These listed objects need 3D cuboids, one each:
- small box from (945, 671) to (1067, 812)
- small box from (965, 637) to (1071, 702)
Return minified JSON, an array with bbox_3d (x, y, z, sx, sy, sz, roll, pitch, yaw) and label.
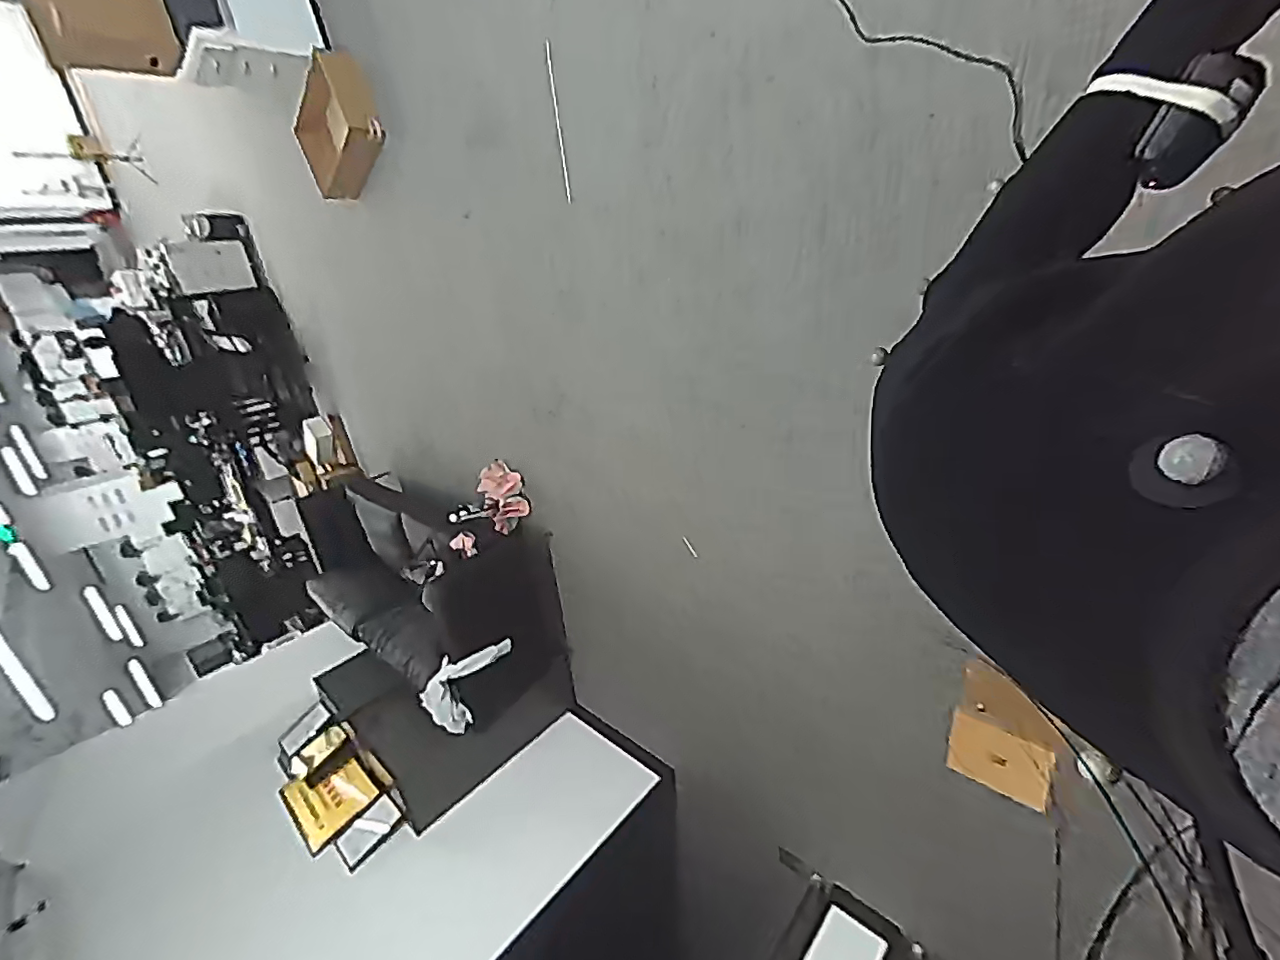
[{"bbox_3d":[0.776,0.539,1.144,0.179,0.176,0.168,15,119,42],"label":"small box"},{"bbox_3d":[0.878,0.495,1.264,0.179,0.176,0.168,11,117,41],"label":"small box"}]
